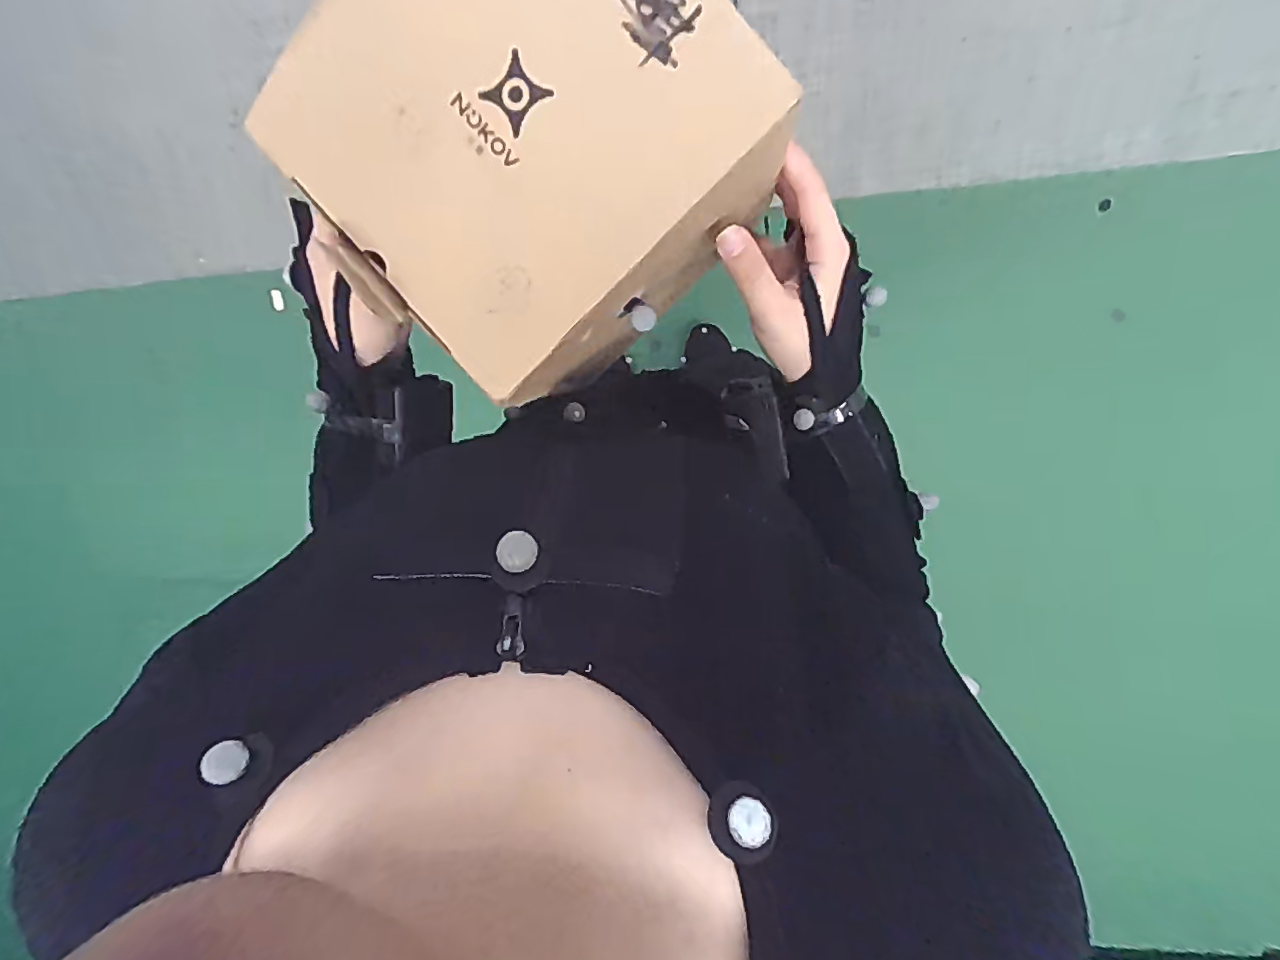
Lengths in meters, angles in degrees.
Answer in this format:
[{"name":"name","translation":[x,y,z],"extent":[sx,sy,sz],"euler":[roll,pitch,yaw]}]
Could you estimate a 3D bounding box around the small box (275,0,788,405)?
[{"name":"small box","translation":[-0.041,-0.164,0.307],"extent":[0.179,0.176,0.168],"euler":[-41,94,15]}]
